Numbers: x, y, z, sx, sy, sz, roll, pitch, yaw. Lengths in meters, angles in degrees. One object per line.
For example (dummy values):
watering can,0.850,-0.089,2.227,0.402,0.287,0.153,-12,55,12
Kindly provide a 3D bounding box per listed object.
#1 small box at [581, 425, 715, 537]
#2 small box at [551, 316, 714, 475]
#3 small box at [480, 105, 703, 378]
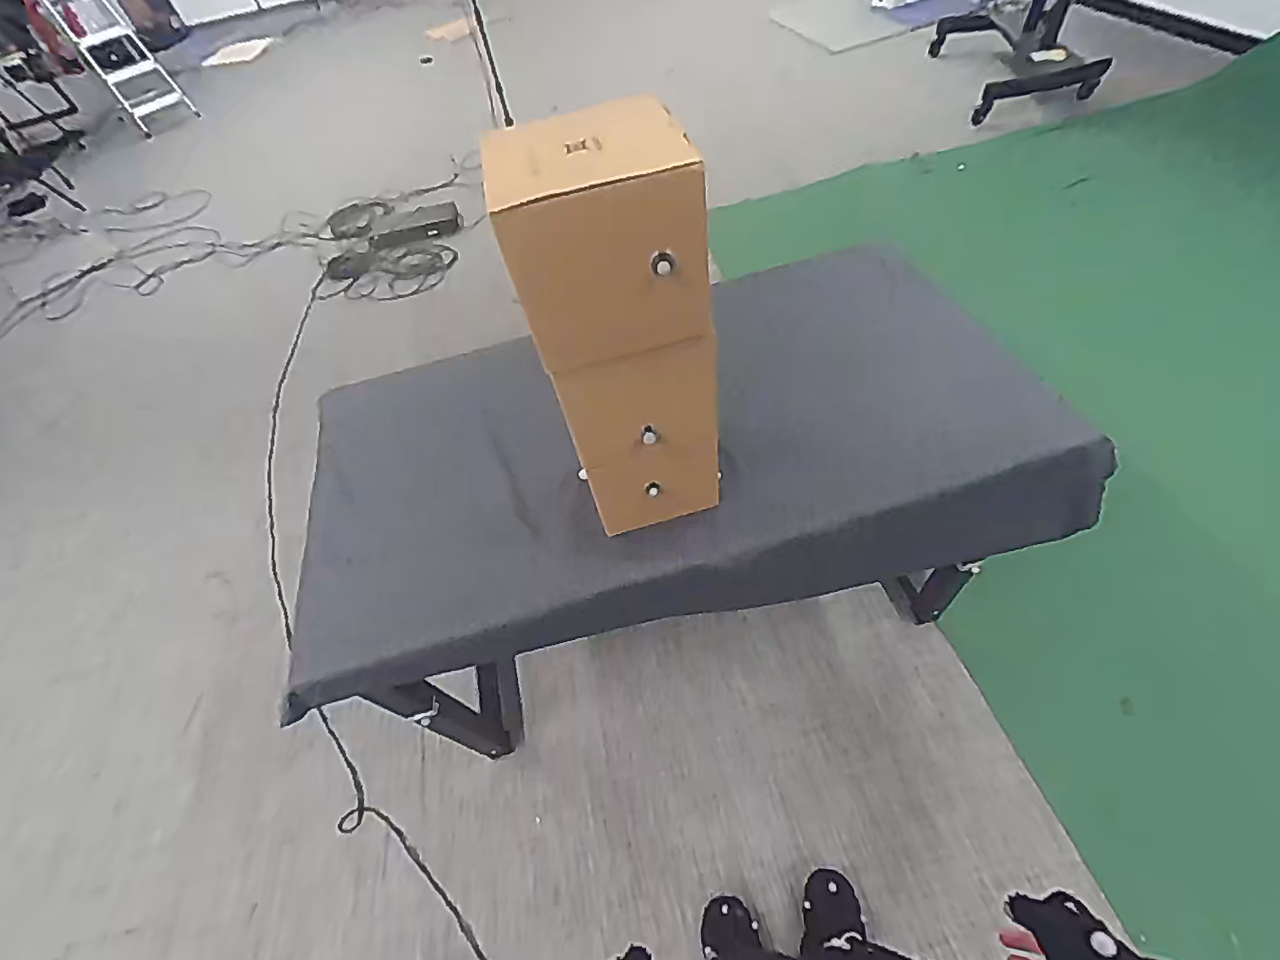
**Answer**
small box,0.004,-0.042,0.796,0.179,0.176,0.168,-16,52,-2
small box,-0.017,-0.134,0.667,0.179,0.176,0.168,-18,54,-3
small box,-0.041,-0.229,0.533,0.179,0.176,0.168,-16,51,-1
